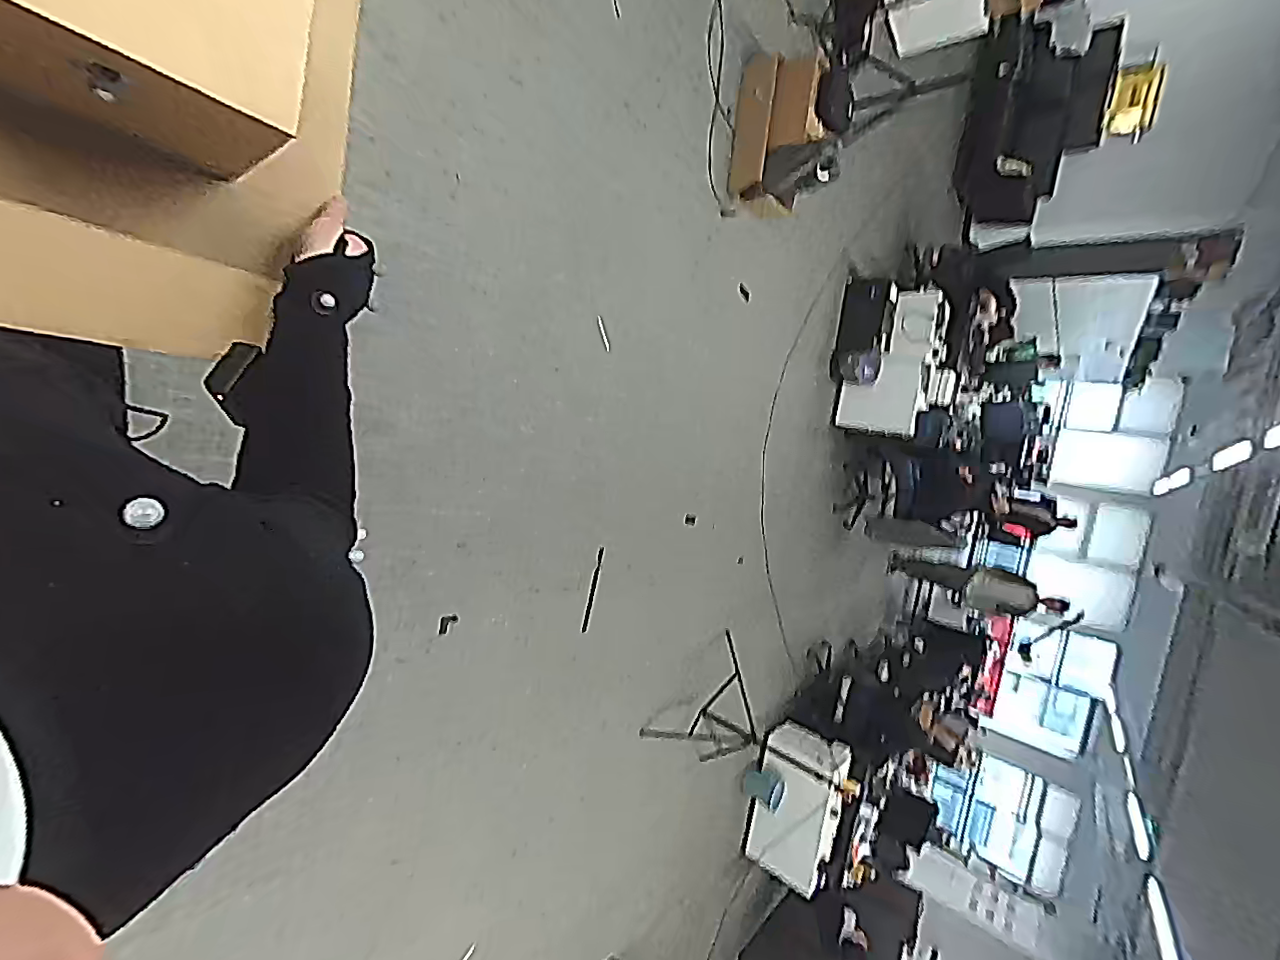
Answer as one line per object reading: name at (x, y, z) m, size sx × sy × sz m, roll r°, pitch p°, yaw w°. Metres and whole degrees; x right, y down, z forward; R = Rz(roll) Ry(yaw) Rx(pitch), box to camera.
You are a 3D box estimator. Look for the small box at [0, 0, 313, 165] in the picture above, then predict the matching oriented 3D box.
small box at (-0.356, -0.350, 0.379) m, size 0.179 × 0.176 × 0.168 m, roll 4°, pitch 97°, yaw -49°
